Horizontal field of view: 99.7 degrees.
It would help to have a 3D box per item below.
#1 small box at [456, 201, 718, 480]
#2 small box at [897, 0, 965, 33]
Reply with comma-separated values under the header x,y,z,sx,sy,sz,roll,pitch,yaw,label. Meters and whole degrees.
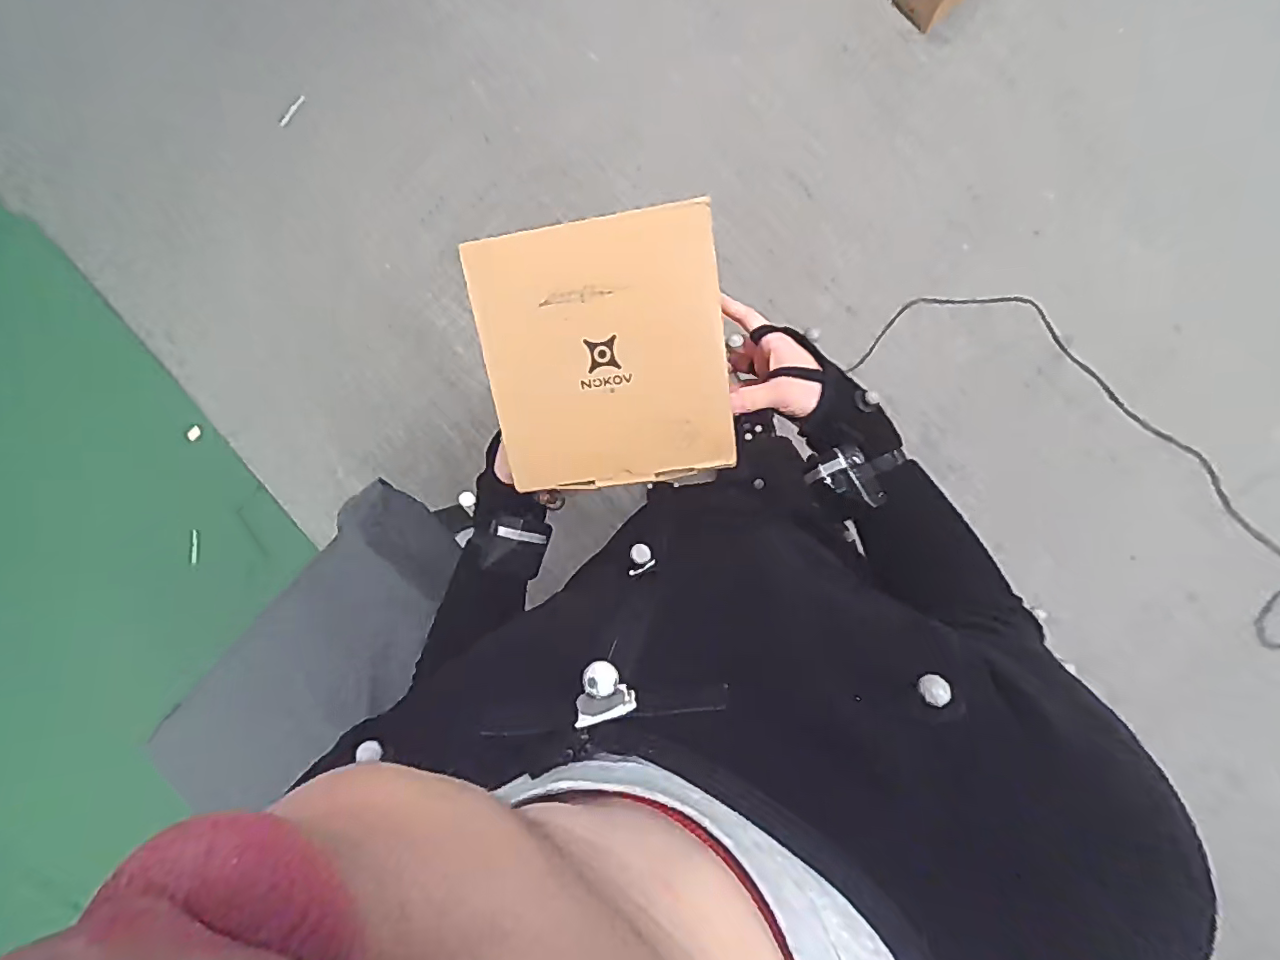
x,y,z,sx,sy,sz,roll,pitch,yaw,label
-0.026,-0.114,0.457,0.168,0.176,0.179,-7,106,7,small box
0.712,-1.215,1.259,0.179,0.176,0.168,-40,88,11,small box
